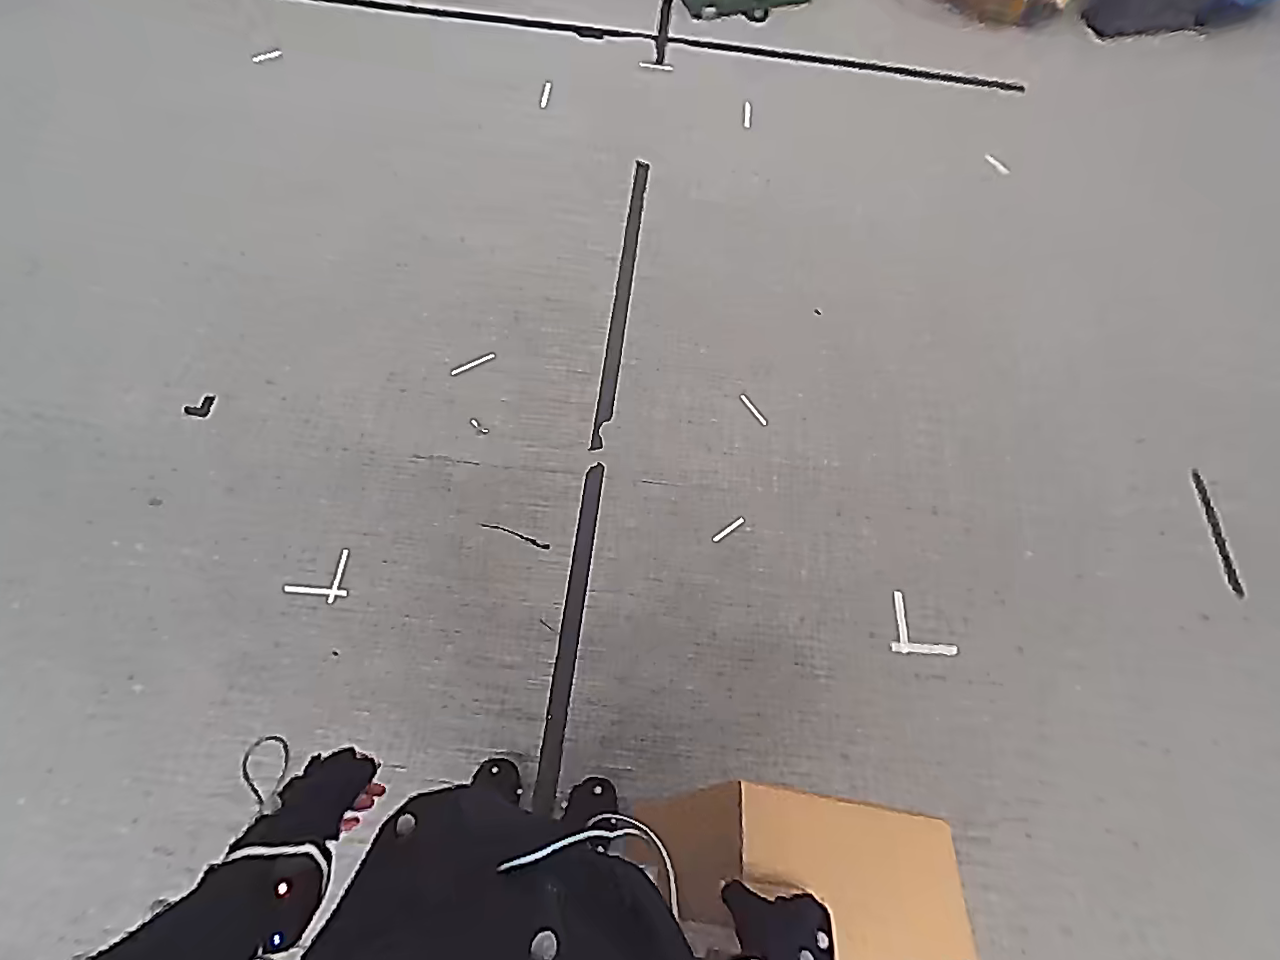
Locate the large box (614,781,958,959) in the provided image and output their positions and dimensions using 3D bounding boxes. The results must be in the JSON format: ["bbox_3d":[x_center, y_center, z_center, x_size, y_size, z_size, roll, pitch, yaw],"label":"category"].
[{"bbox_3d":[0.177,0.638,0.750,0.320,0.408,0.320,17,51,-12],"label":"large box"}]
